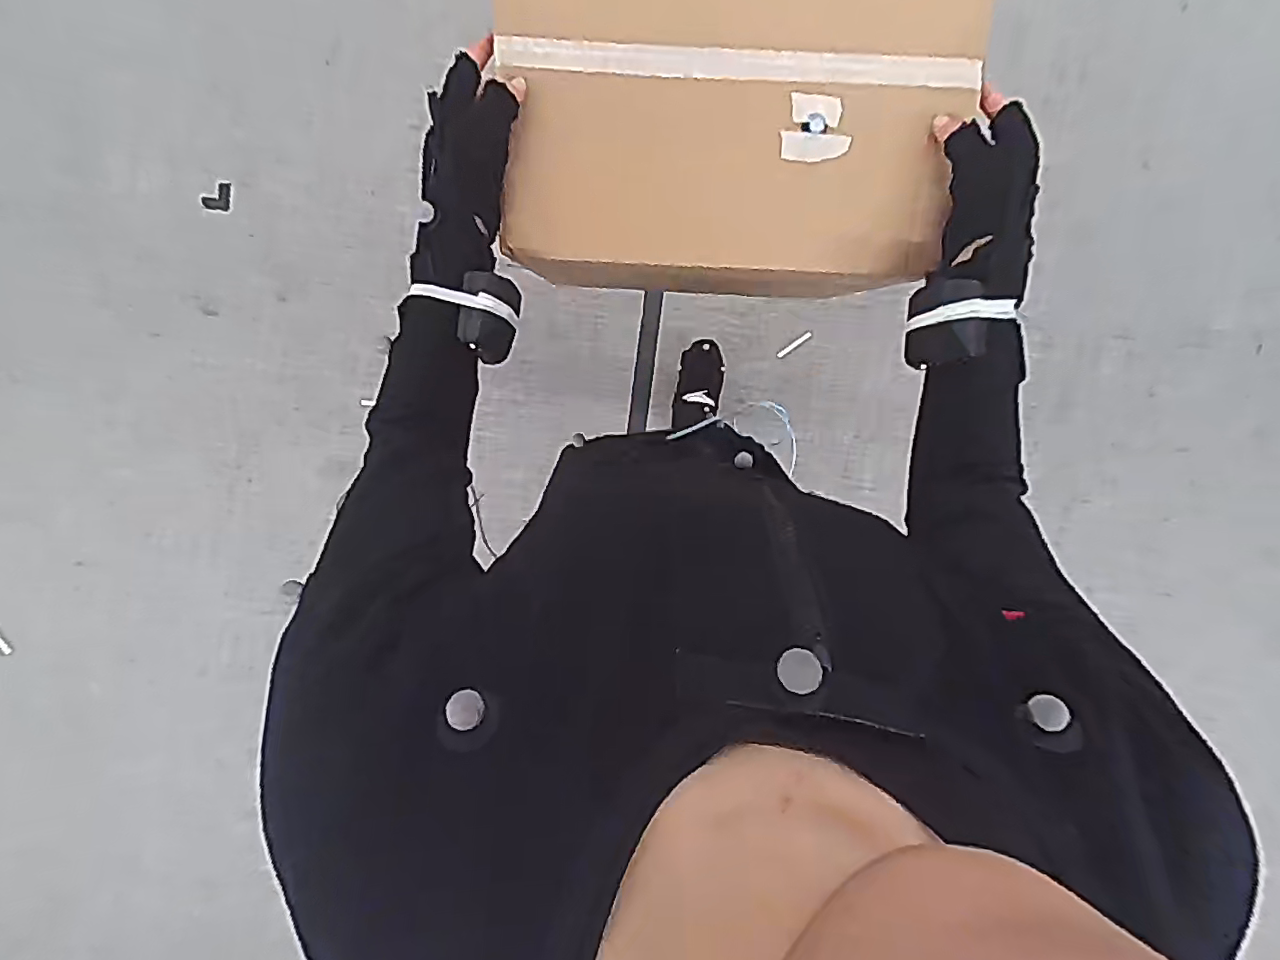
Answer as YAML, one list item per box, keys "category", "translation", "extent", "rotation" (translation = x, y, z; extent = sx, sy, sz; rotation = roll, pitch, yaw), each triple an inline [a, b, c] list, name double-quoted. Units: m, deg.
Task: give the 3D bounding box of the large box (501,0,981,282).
- category: "large box"
  translation: [0.078, -0.400, 0.599]
  extent: [0.408, 0.320, 0.320]
  rotation: [2, 106, -2]
